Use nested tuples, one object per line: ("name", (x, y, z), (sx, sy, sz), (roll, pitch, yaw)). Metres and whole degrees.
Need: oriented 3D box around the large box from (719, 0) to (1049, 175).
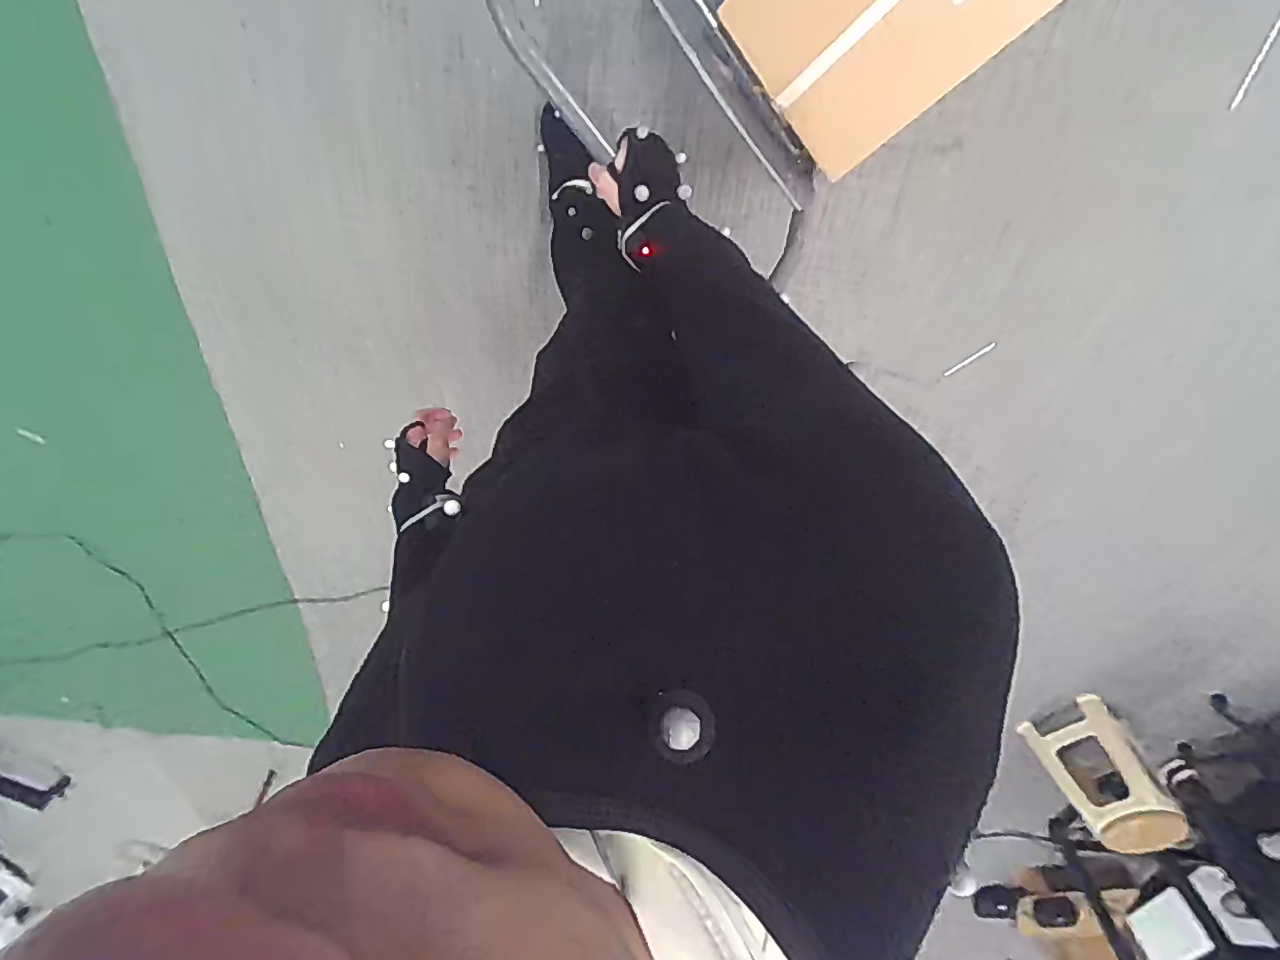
("large box", (0.384, -0.778, 0.834), (0.408, 0.320, 0.320), (-29, 119, 37))
